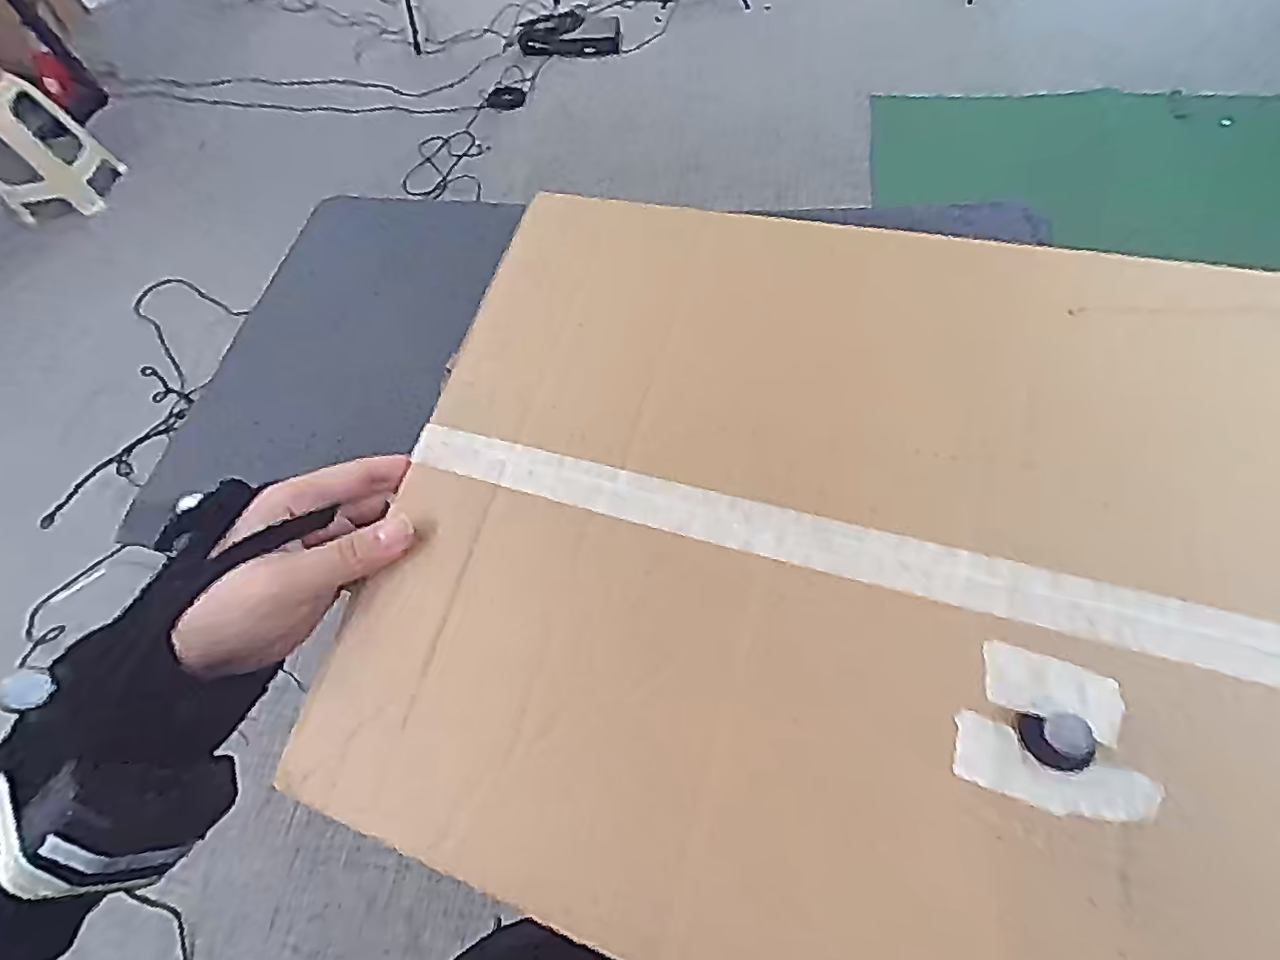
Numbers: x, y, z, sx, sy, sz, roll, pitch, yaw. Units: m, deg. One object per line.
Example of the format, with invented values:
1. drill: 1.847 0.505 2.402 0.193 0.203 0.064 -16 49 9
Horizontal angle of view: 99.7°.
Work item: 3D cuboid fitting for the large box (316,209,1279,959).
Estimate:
1. large box: 0.110 0.069 0.366 0.408 0.320 0.320 13 73 13
